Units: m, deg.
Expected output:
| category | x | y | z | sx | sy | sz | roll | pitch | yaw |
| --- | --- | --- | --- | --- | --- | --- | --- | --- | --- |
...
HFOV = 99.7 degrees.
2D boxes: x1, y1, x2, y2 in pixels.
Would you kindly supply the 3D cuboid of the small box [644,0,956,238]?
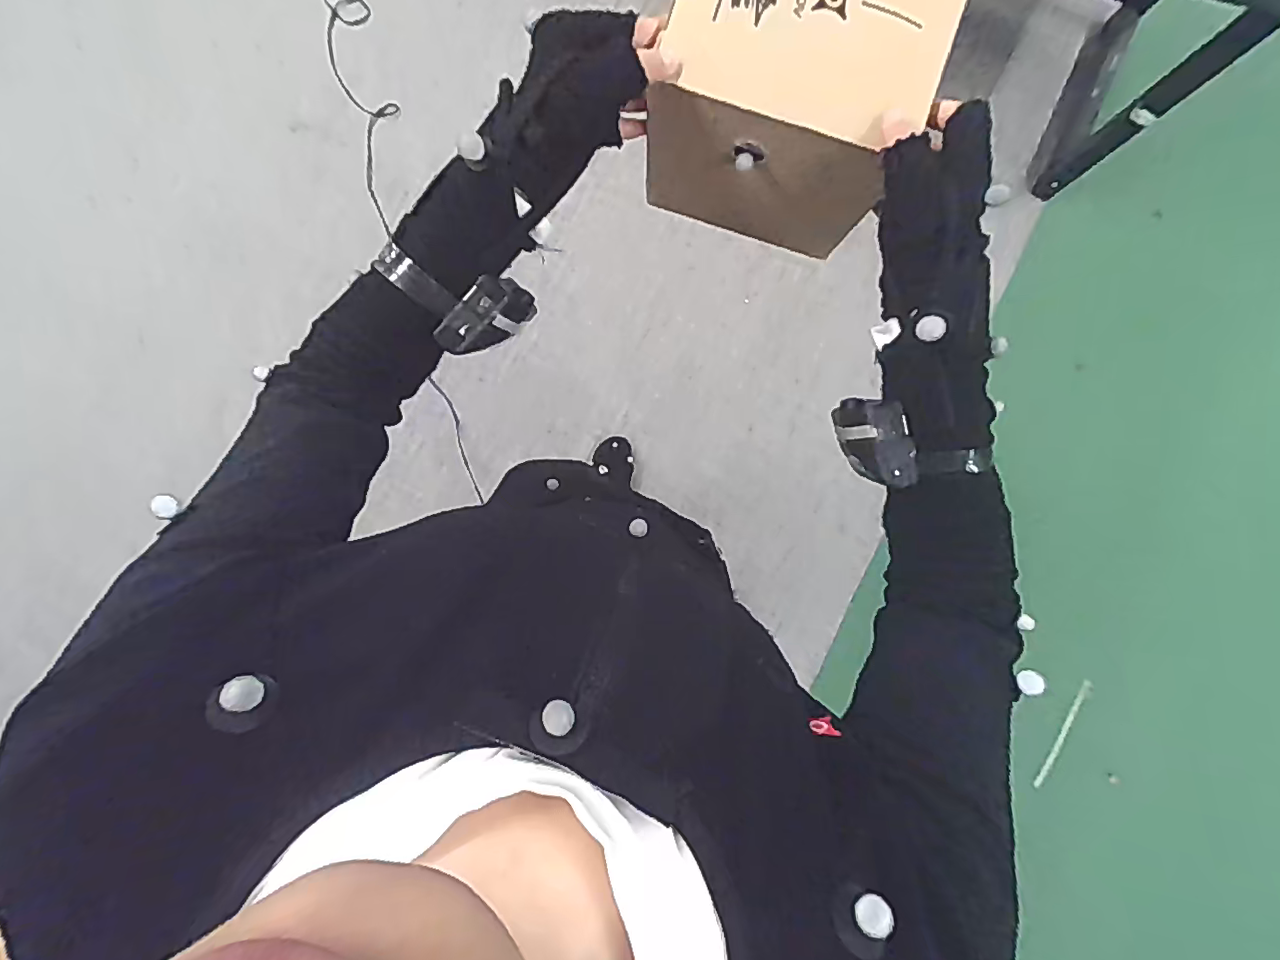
| category | x | y | z | sx | sy | sz | roll | pitch | yaw |
| --- | --- | --- | --- | --- | --- | --- | --- | --- | --- |
| small box | 0.110 | -0.313 | 0.412 | 0.179 | 0.176 | 0.168 | 18 | 93 | 0 |
